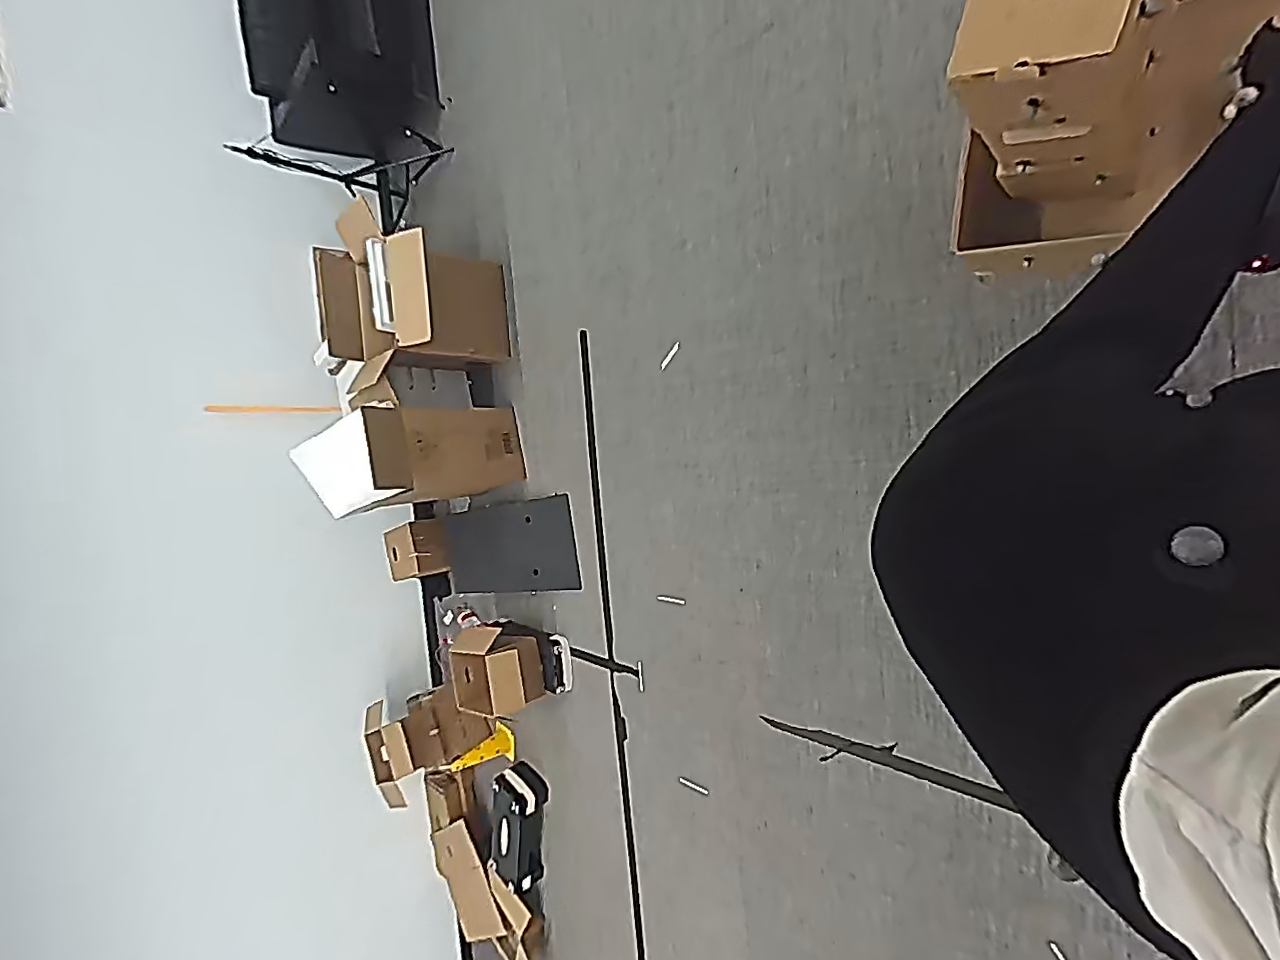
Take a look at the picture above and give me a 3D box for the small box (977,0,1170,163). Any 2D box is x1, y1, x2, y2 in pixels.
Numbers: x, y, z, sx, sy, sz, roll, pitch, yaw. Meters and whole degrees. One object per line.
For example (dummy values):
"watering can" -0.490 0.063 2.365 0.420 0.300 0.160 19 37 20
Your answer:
"small box" 0.606 -0.565 0.756 0.168 0.176 0.179 21 108 41

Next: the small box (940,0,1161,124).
"small box" 0.492 -0.546 0.639 0.168 0.176 0.179 26 112 39
